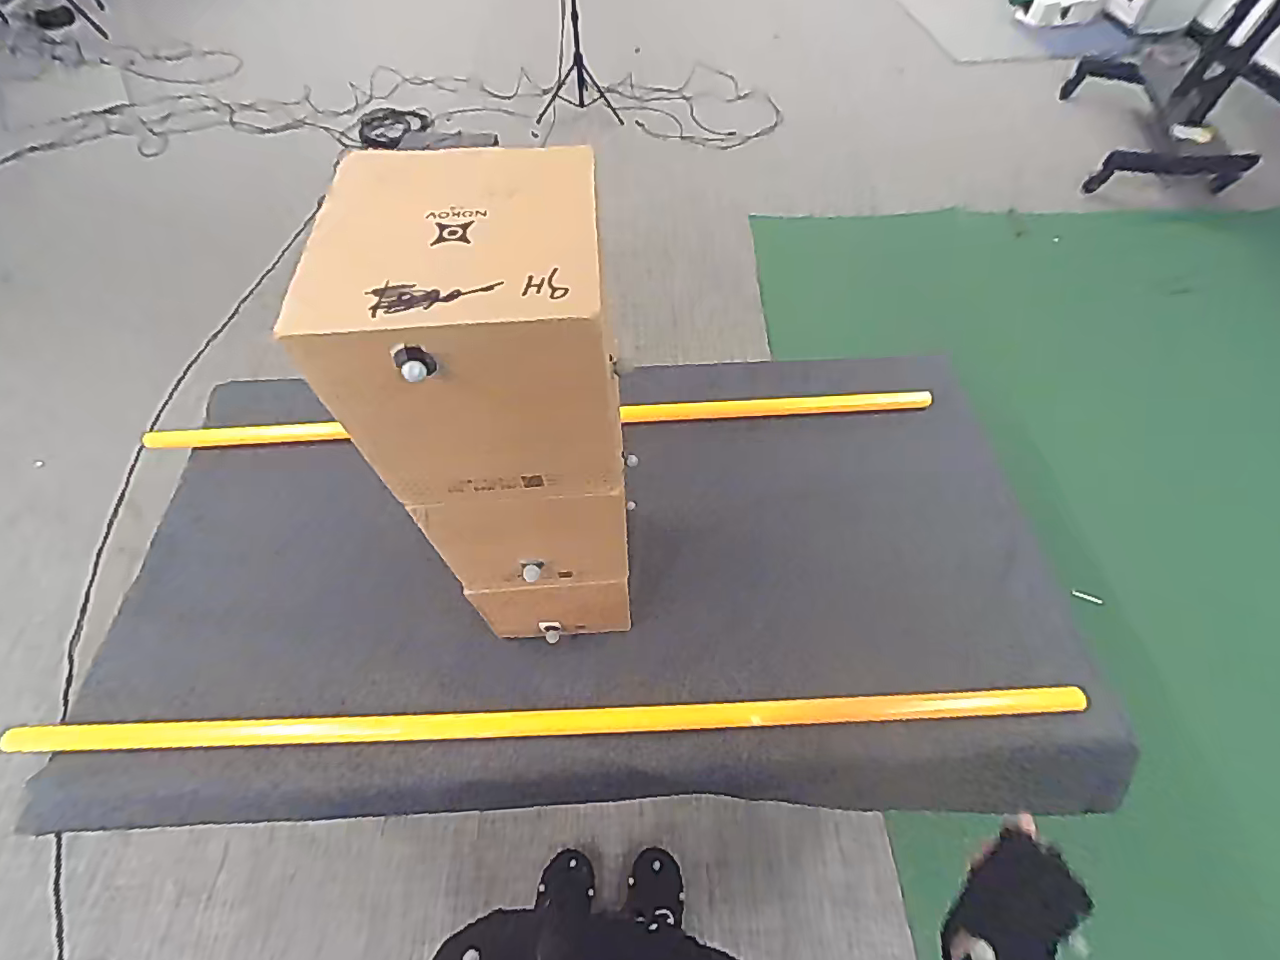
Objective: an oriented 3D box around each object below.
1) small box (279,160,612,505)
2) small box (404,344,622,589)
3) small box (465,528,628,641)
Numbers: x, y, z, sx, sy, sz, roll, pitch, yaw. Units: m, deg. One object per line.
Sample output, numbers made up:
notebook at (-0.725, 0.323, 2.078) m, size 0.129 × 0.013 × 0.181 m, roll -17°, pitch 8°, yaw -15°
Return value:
small box at (-0.109, -0.101, 0.392) m, size 0.168 × 0.176 × 0.179 m, roll -4°, pitch 56°, yaw -1°
small box at (-0.104, -0.010, 0.528) m, size 0.168 × 0.176 × 0.179 m, roll -4°, pitch 57°, yaw -1°
small box at (-0.104, 0.082, 0.664) m, size 0.168 × 0.176 × 0.179 m, roll -5°, pitch 58°, yaw -2°
